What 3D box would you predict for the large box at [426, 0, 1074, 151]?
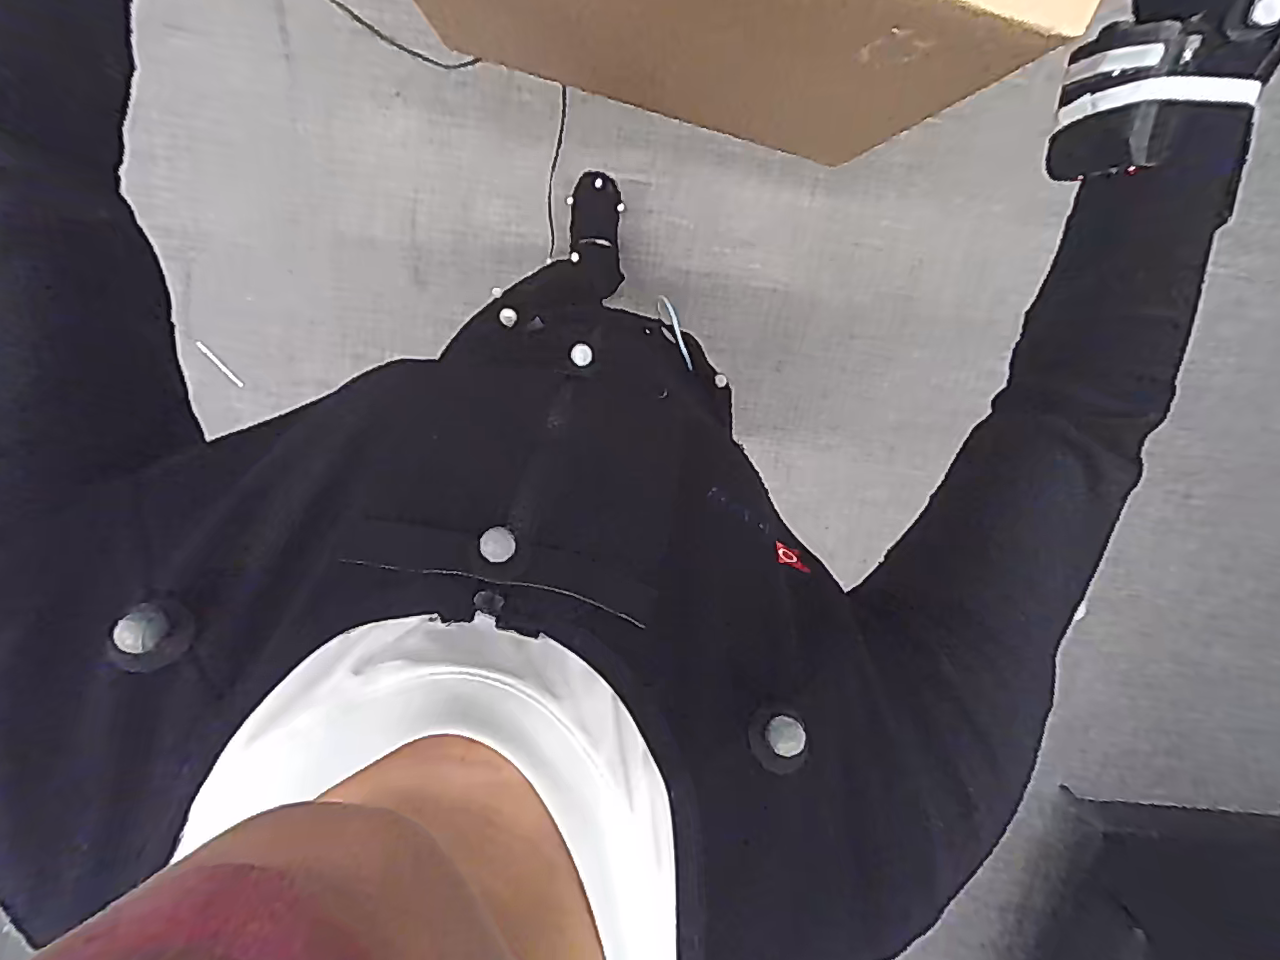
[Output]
[{"bbox_3d":[0.053,-0.462,0.348,0.408,0.320,0.320,12,110,-6],"label":"large box"}]
